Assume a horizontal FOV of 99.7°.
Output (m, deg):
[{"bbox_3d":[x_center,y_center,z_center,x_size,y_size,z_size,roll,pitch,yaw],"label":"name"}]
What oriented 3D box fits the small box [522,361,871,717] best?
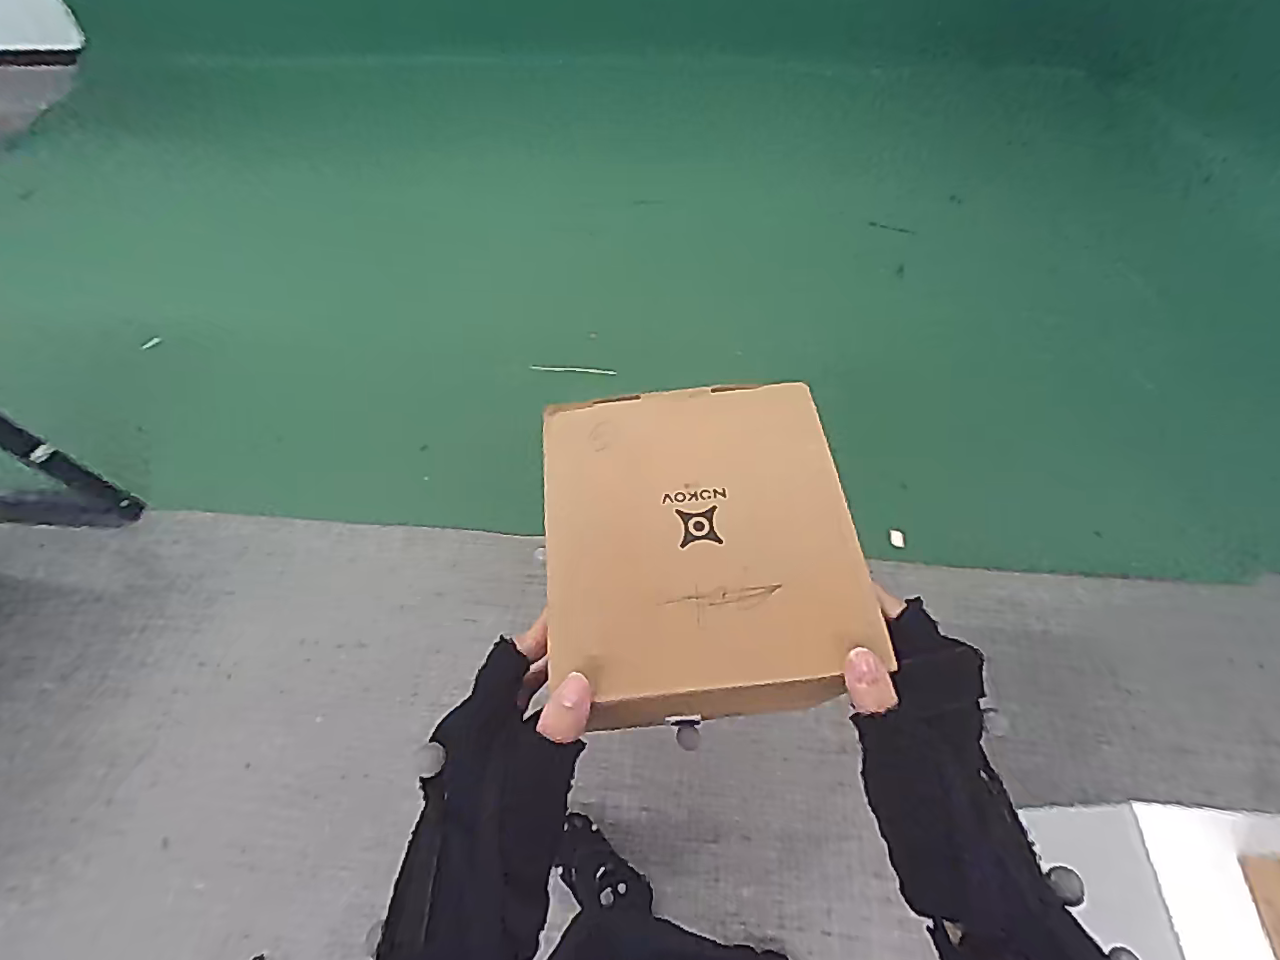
[{"bbox_3d":[0.019,0.047,0.359,0.168,0.176,0.179,-6,61,-2],"label":"small box"}]
